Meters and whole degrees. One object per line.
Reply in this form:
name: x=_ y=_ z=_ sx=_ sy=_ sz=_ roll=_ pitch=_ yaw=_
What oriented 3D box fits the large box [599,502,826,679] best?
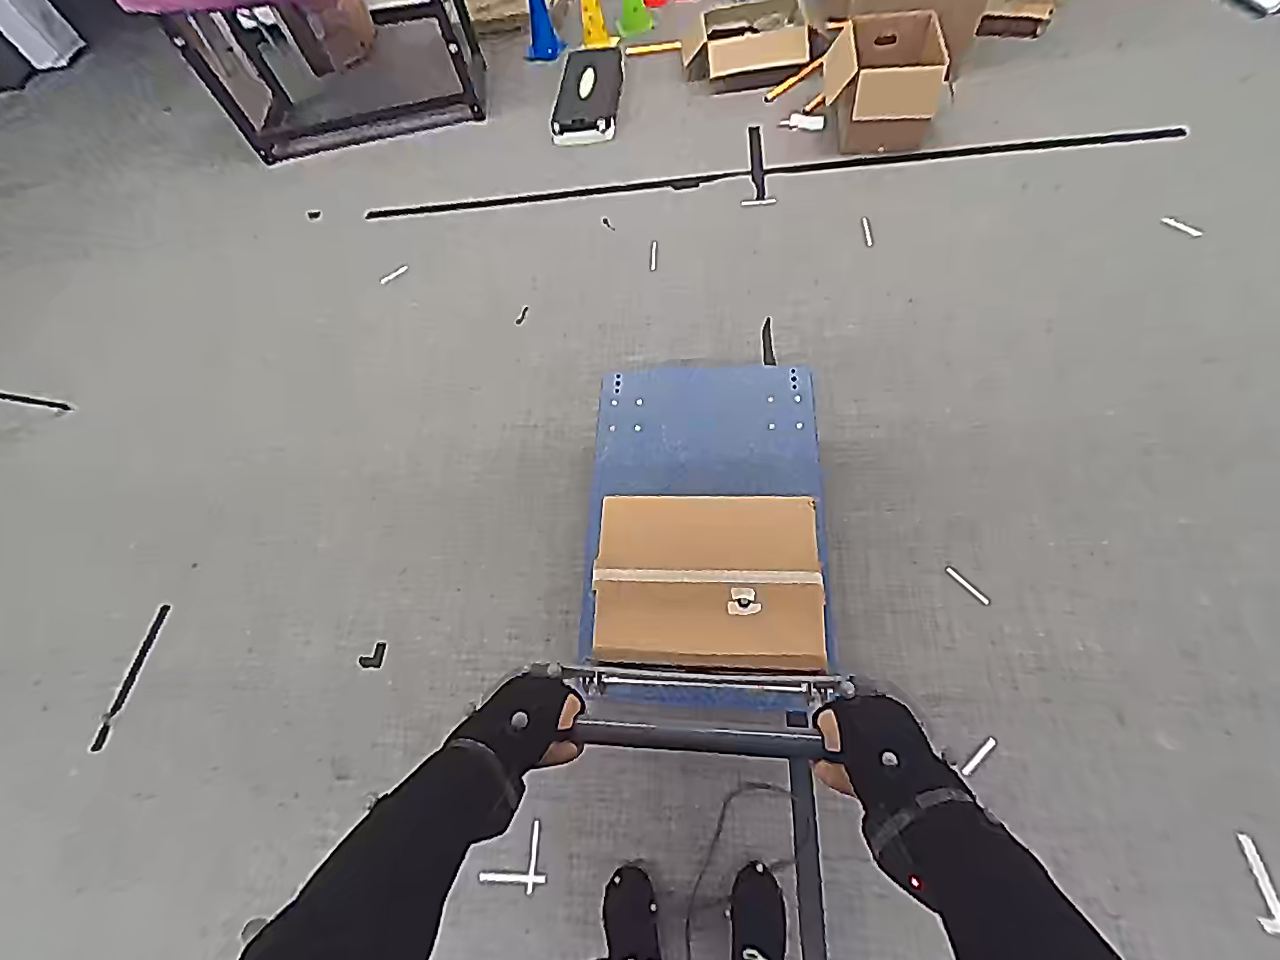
large box: x=0.140 y=0.245 z=1.136 sx=0.408 sy=0.320 sz=0.320 roll=-1 pitch=68 yaw=7
